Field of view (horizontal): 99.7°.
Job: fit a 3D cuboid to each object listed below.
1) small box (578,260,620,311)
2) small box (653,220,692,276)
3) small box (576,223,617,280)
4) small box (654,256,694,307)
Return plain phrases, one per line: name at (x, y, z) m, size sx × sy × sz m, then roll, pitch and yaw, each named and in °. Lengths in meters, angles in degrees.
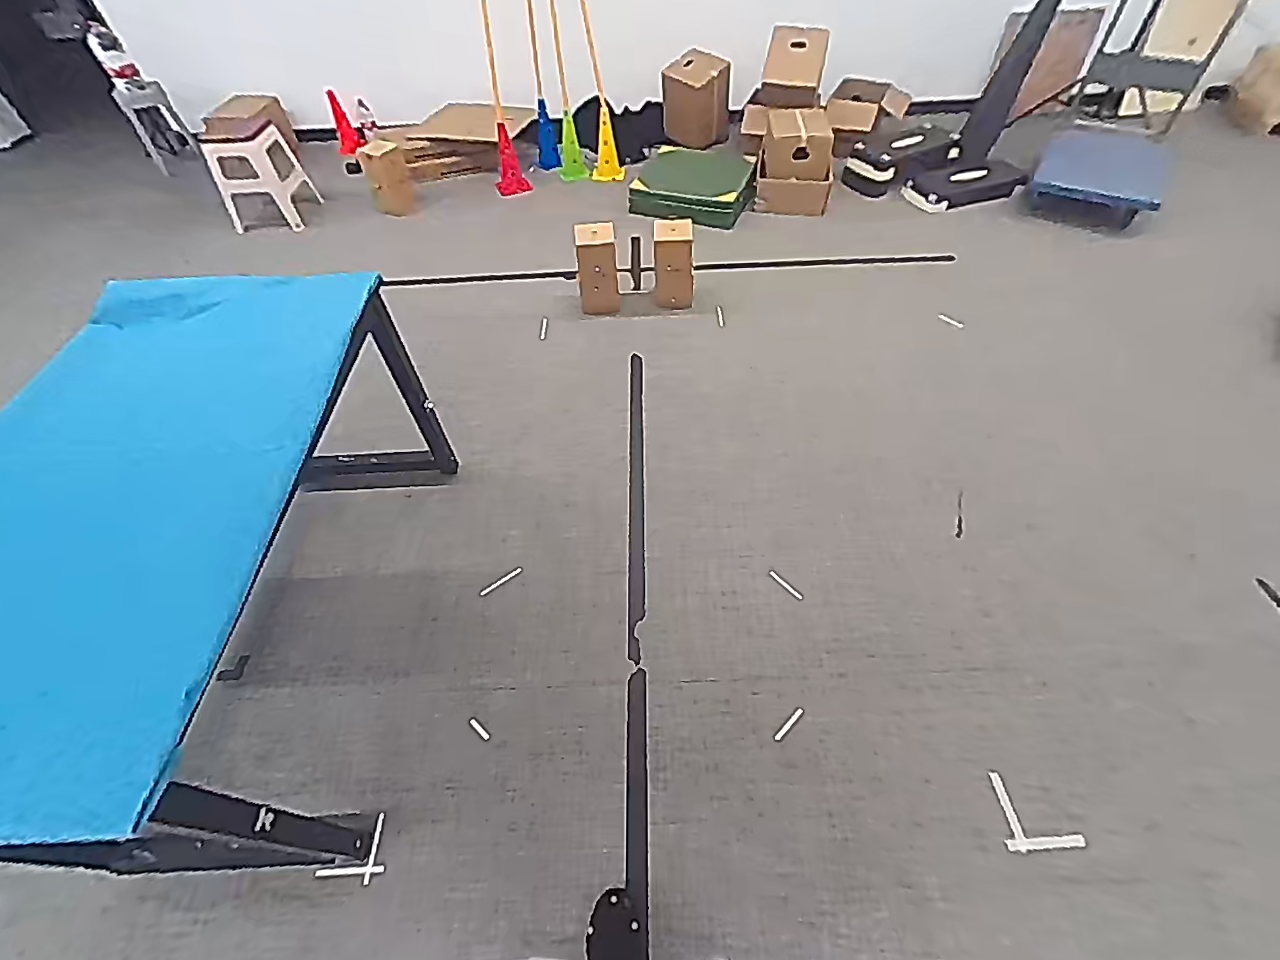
small box at (-0.187, -0.895, 2.493) m, size 0.179 × 0.176 × 0.168 m, roll -3°, pitch 52°, yaw -2°
small box at (0.143, -1.019, 2.377) m, size 0.168 × 0.176 × 0.179 m, roll 1°, pitch 53°, yaw 3°
small box at (-0.191, -1.001, 2.367) m, size 0.168 × 0.176 × 0.179 m, roll -5°, pitch 52°, yaw -2°
small box at (0.156, -0.922, 2.507) m, size 0.179 × 0.176 × 0.168 m, roll 2°, pitch 51°, yaw 2°
